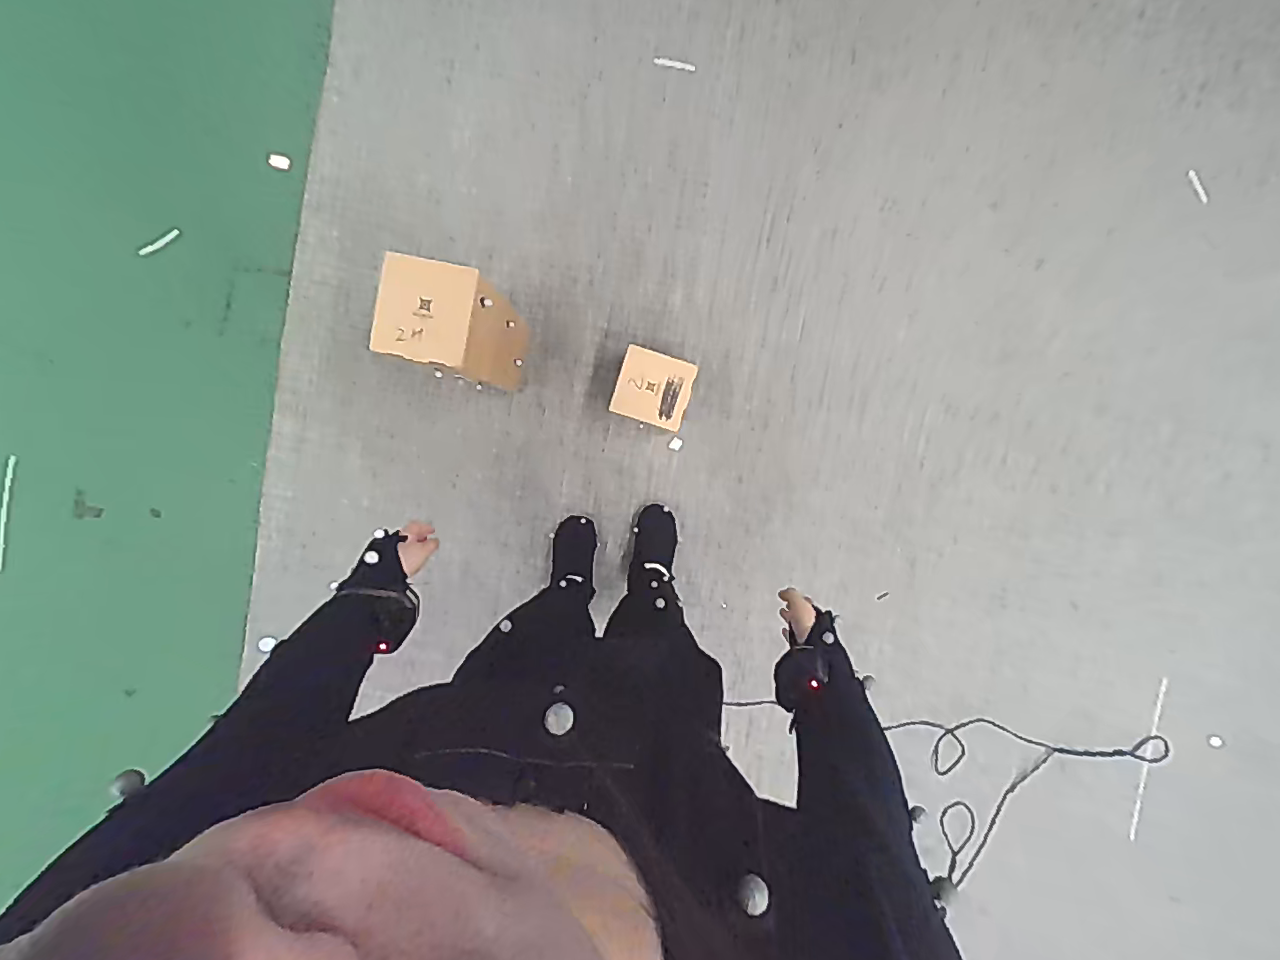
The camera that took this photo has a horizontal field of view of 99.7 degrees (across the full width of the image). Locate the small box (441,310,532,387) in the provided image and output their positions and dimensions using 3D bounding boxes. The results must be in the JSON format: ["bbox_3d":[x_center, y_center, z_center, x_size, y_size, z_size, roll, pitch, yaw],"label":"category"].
[{"bbox_3d":[-0.374,-0.334,1.330,0.168,0.176,0.179,14,94,-2],"label":"small box"}]

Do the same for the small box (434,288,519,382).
[{"bbox_3d":[-0.369,-0.320,1.168,0.168,0.176,0.179,11,95,0],"label":"small box"}]

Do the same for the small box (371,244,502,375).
[{"bbox_3d":[-0.366,-0.306,1.004,0.168,0.176,0.179,11,94,0],"label":"small box"}]
